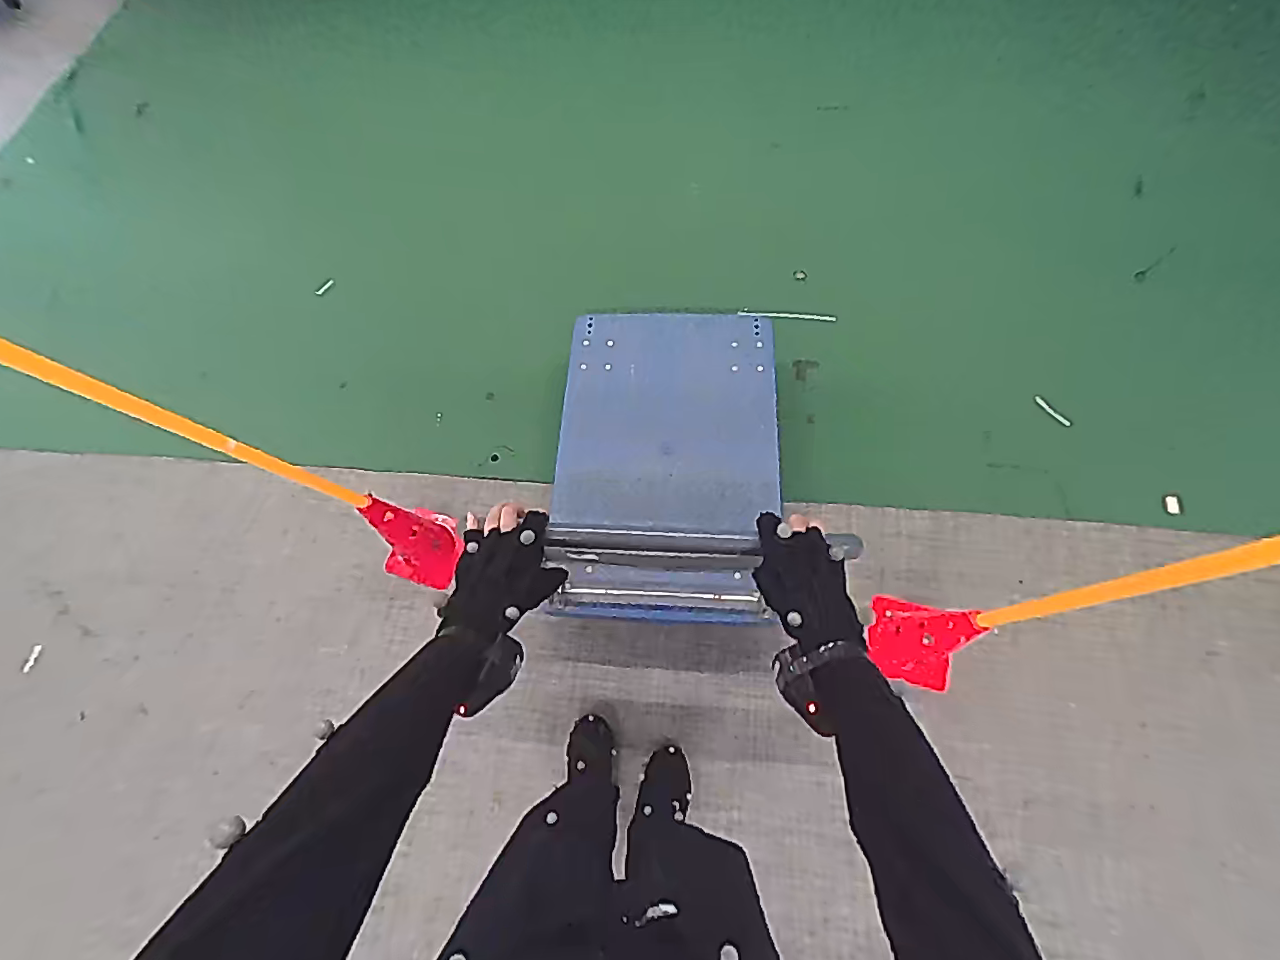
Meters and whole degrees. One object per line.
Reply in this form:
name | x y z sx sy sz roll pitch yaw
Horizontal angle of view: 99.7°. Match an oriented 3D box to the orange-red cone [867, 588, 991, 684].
orange-red cone | 0.662 0.319 1.185 0.198 0.360 0.199 14 70 10
